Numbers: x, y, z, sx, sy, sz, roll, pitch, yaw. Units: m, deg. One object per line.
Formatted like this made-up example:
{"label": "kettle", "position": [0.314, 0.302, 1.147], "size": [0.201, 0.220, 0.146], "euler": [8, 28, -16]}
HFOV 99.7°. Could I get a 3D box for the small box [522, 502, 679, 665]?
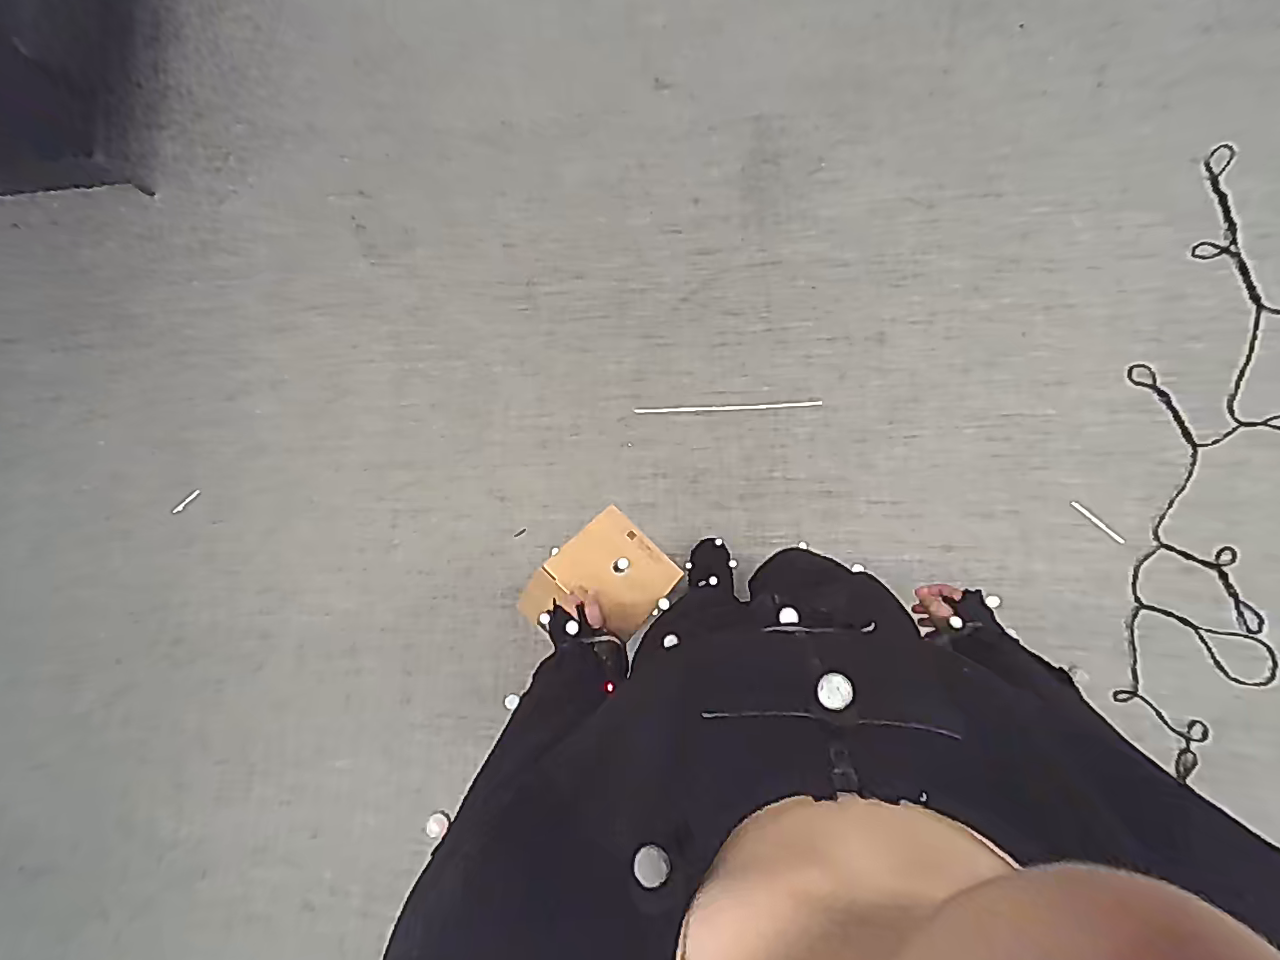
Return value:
{"label": "small box", "position": [-0.060, 0.166, 0.884], "size": [0.168, 0.179, 0.176], "euler": [43, 51, 5]}
